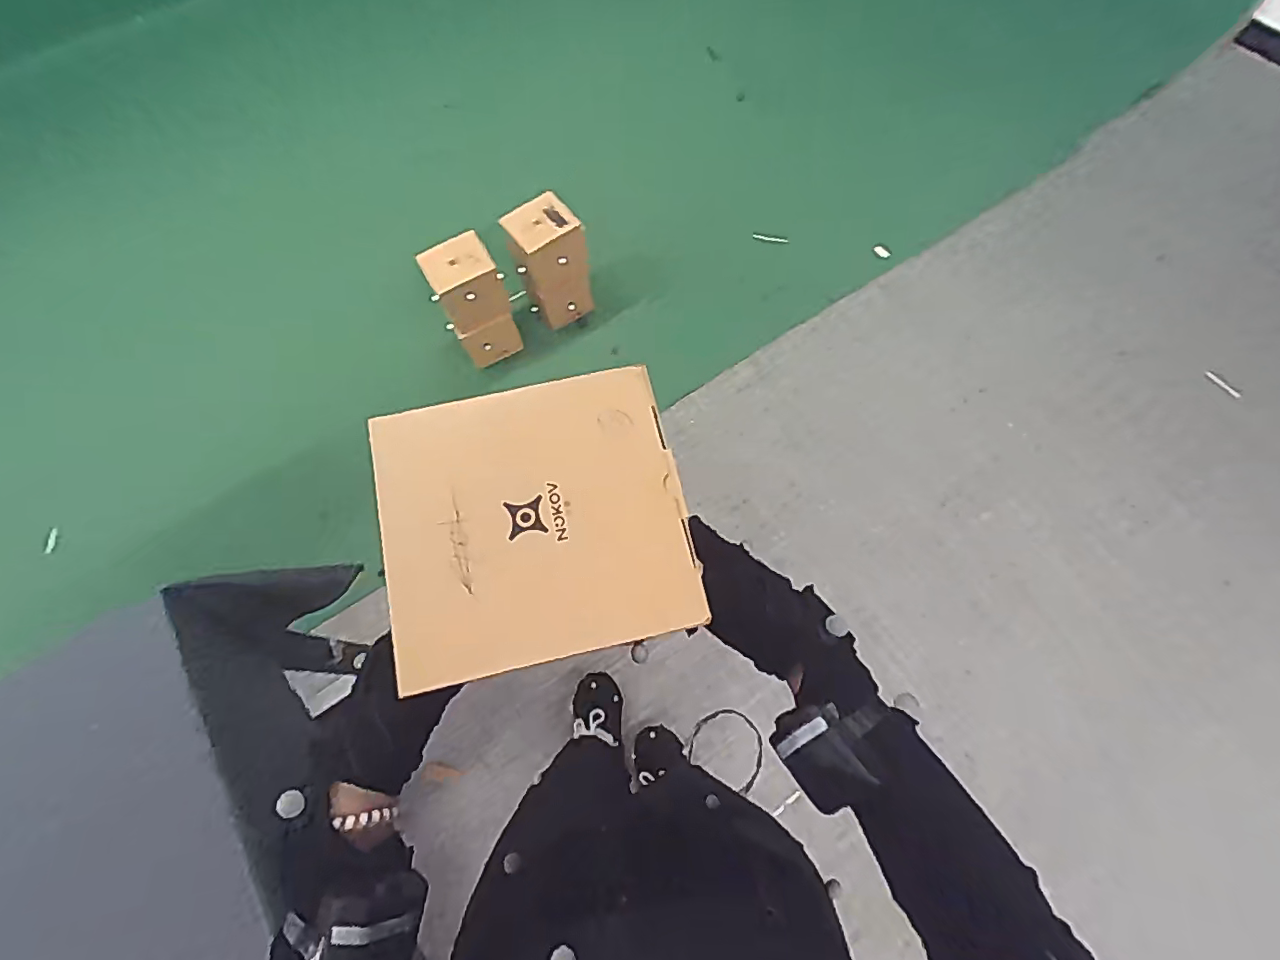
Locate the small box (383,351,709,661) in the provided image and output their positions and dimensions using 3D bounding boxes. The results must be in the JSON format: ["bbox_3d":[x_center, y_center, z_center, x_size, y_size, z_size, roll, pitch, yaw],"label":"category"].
[{"bbox_3d":[-0.062,0.029,0.396,0.179,0.176,0.168,-10,74,-4],"label":"small box"}]

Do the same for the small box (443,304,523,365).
[{"bbox_3d":[-0.486,-0.486,1.691,0.168,0.176,0.179,-28,68,-8],"label":"small box"}]

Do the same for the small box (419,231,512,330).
[{"bbox_3d":[-0.493,-0.562,1.544,0.179,0.176,0.168,-29,69,-8],"label":"small box"}]
